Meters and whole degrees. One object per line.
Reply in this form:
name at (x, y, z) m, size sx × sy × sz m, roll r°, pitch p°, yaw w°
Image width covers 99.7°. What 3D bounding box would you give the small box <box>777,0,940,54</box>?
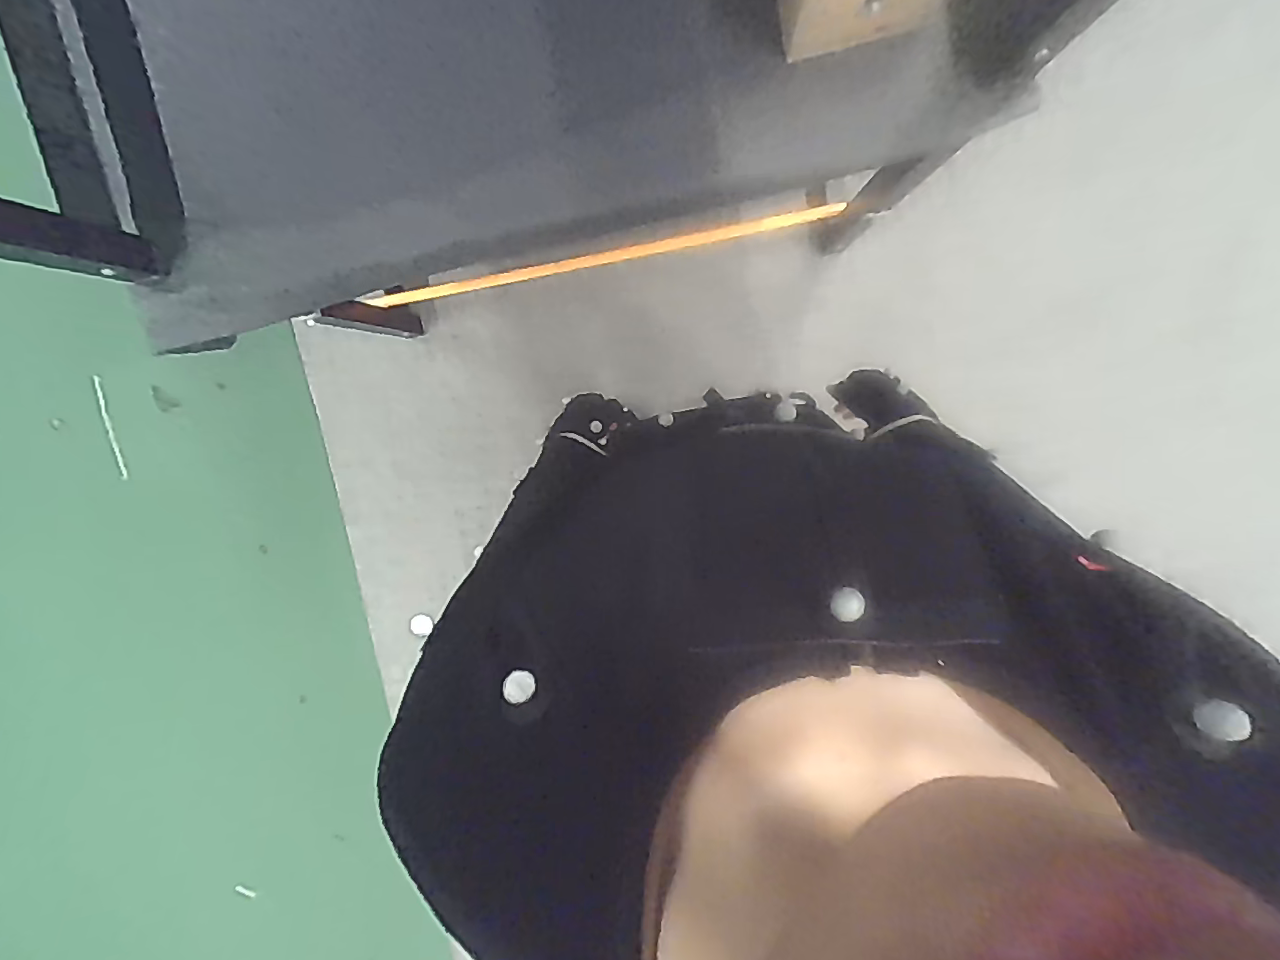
small box at (0.233, -0.580, 0.550) m, size 0.168 × 0.176 × 0.179 m, roll -10°, pitch 98°, yaw 7°
